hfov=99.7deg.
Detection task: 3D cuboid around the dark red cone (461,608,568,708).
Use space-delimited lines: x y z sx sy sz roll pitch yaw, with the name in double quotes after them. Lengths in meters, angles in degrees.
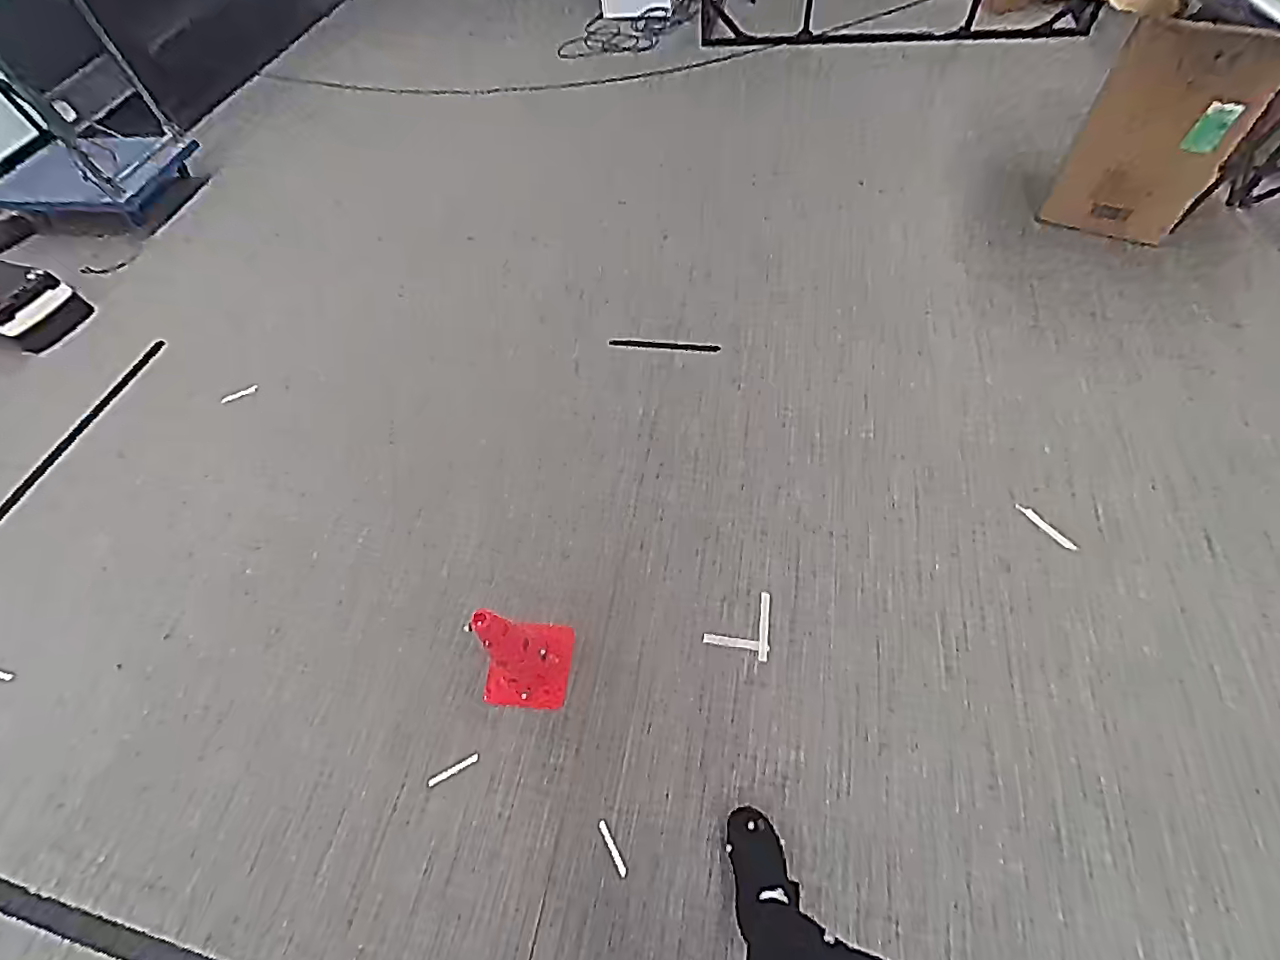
-0.296 0.354 1.162 0.202 0.394 0.201 1 58 7 "dark red cone"
